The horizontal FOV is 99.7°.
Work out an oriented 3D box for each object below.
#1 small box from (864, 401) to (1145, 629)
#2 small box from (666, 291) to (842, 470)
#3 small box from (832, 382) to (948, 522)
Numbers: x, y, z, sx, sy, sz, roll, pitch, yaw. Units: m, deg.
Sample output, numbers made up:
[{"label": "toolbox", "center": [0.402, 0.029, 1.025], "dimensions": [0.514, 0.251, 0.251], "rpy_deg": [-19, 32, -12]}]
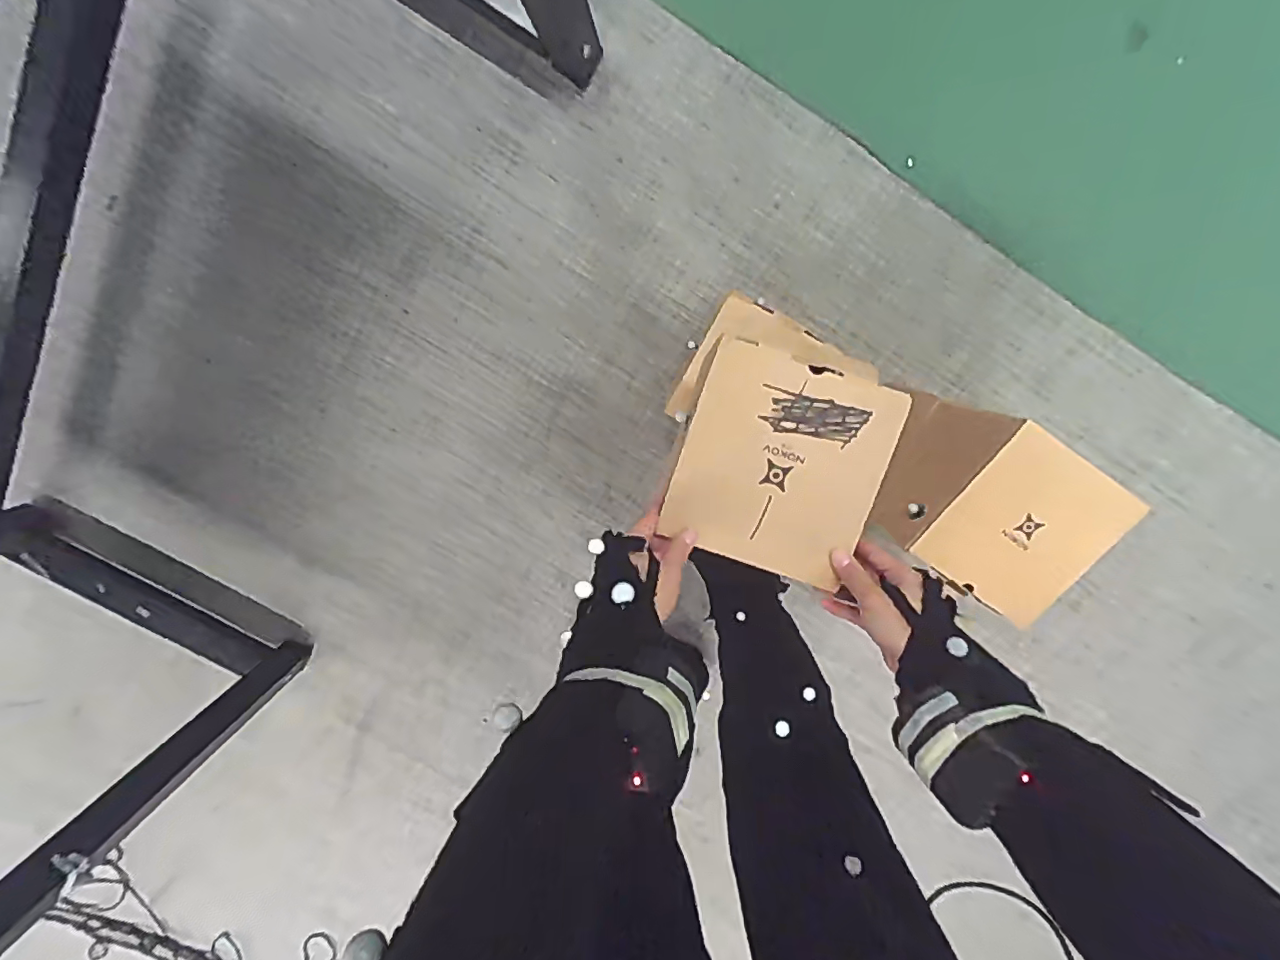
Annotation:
[{"label": "small box", "center": [0.396, 0.027, 0.628], "dimensions": [0.168, 0.176, 0.179], "rpy_deg": [33, 106, -7]}, {"label": "small box", "center": [0.147, -0.145, 0.765], "dimensions": [0.168, 0.176, 0.179], "rpy_deg": [28, 107, -4]}, {"label": "small box", "center": [0.403, -0.020, 0.784], "dimensions": [0.168, 0.176, 0.179], "rpy_deg": [32, 107, -7]}]
